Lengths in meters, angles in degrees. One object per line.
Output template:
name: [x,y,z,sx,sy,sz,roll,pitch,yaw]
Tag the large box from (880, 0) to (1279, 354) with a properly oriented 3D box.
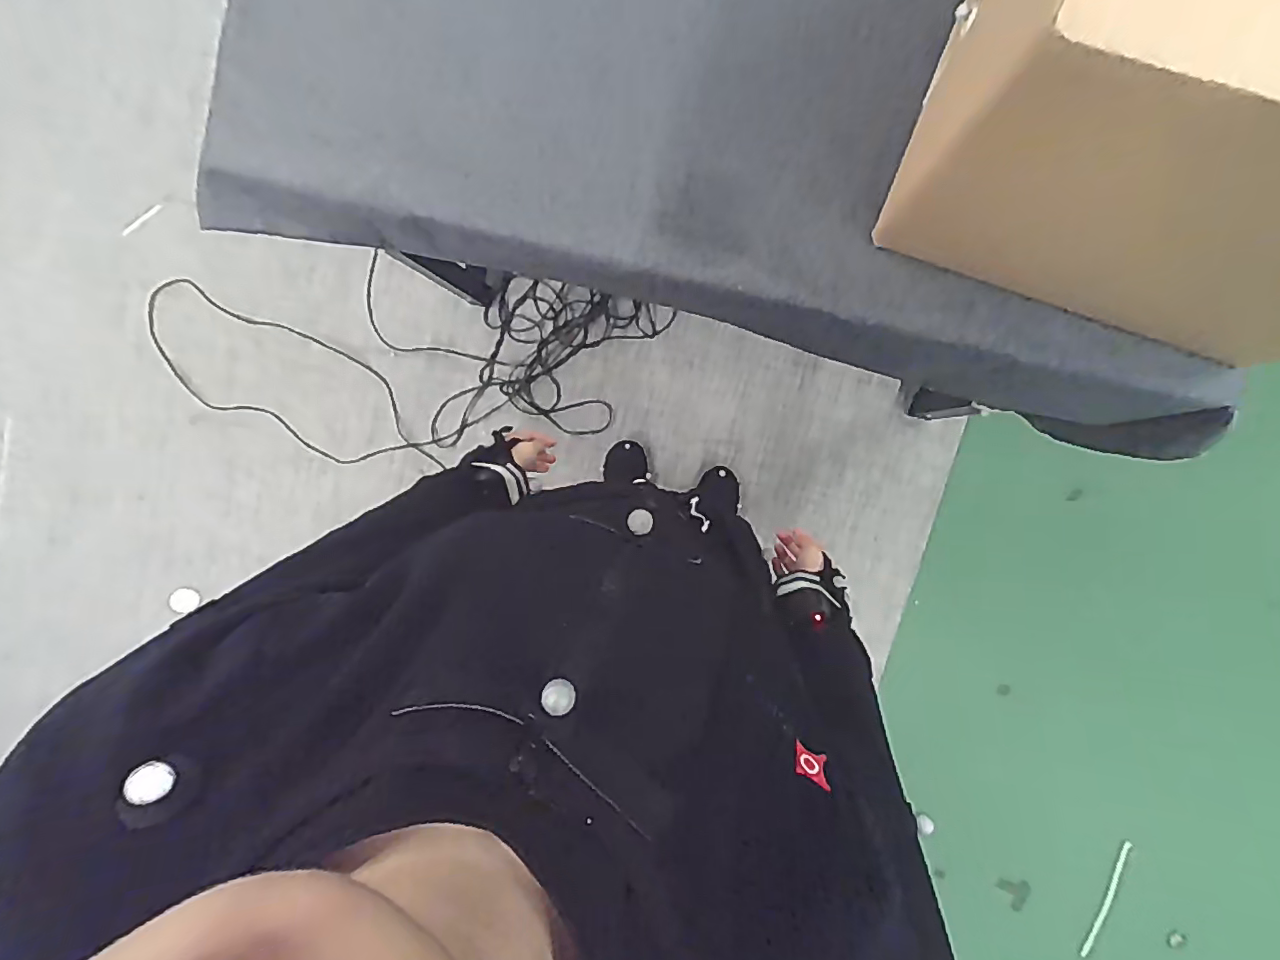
large box: [0.475,-0.327,0.414,0.408,0.320,0.320,21,96,3]
